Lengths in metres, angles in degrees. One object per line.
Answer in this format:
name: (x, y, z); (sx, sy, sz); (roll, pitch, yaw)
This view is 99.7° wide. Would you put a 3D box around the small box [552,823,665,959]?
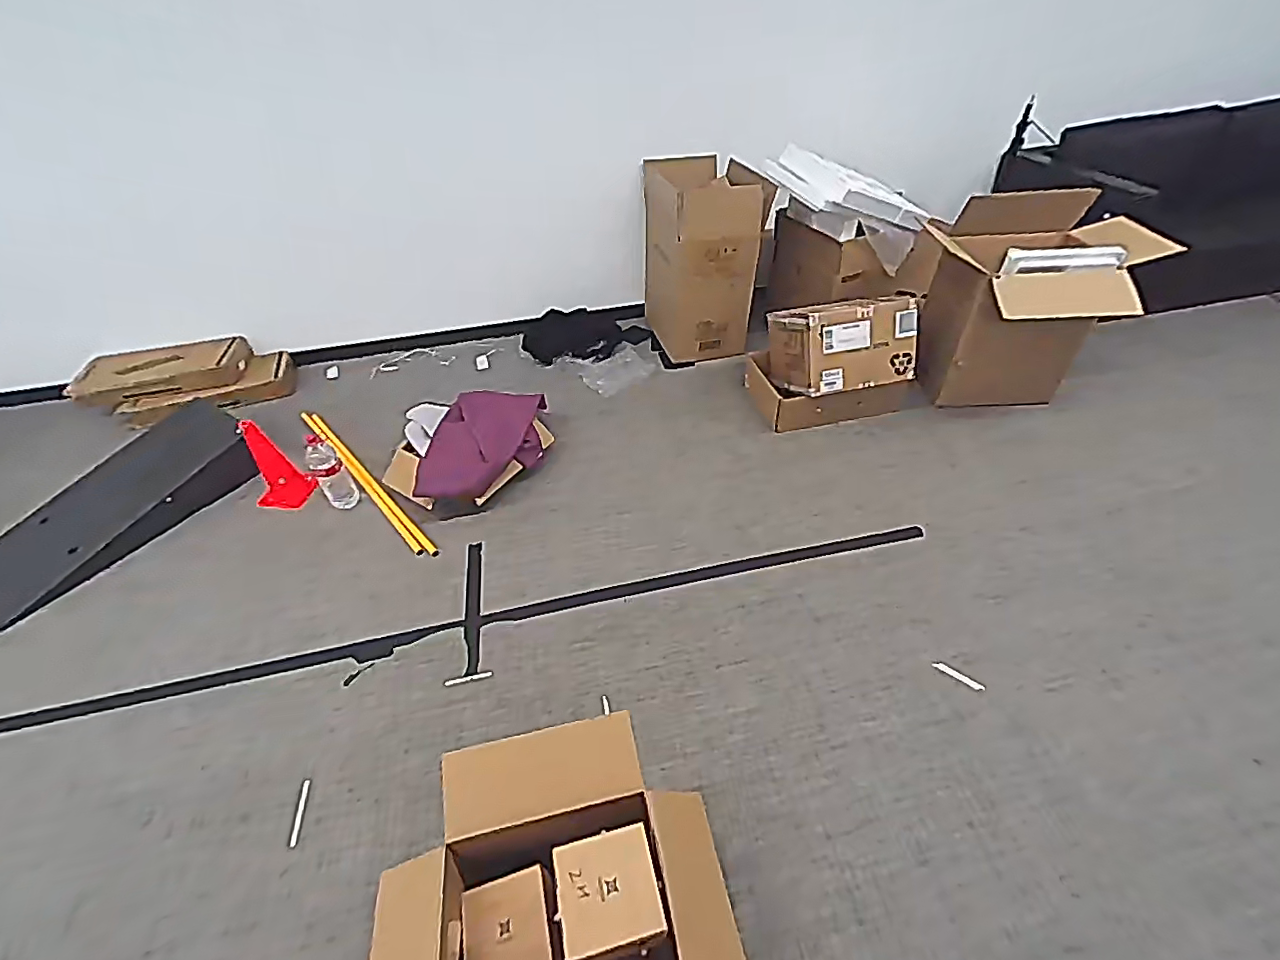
small box: (-0.059, 0.775, 1.008); (0.179, 0.176, 0.168); (-11, 44, -10)
